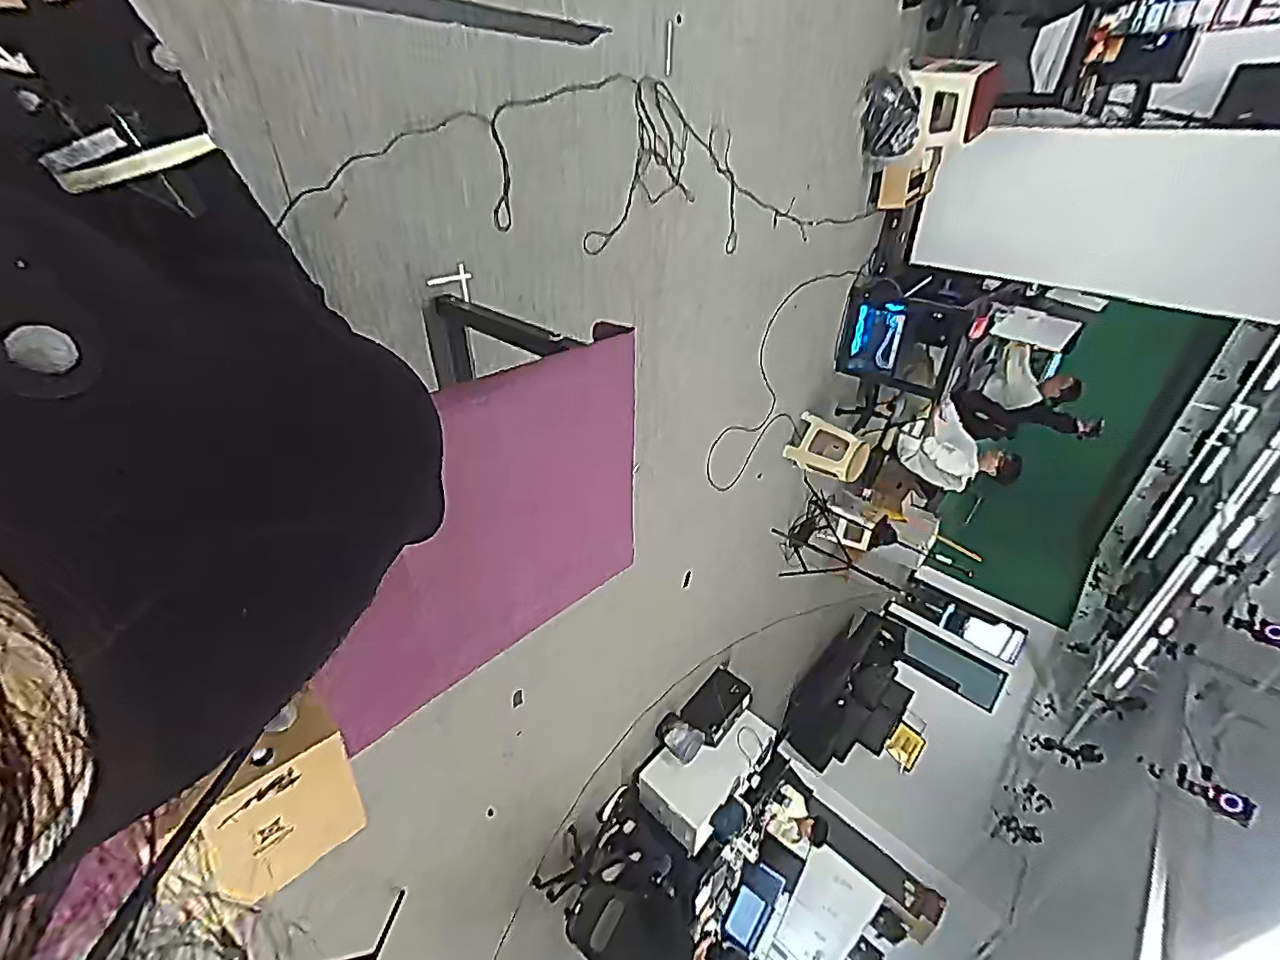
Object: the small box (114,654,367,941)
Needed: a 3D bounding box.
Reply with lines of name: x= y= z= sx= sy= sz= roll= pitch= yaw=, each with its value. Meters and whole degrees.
small box: x=-0.430 y=0.331 z=0.595 sx=0.168 sy=0.176 sz=0.179 roll=-25 pitch=131 yaw=-42
